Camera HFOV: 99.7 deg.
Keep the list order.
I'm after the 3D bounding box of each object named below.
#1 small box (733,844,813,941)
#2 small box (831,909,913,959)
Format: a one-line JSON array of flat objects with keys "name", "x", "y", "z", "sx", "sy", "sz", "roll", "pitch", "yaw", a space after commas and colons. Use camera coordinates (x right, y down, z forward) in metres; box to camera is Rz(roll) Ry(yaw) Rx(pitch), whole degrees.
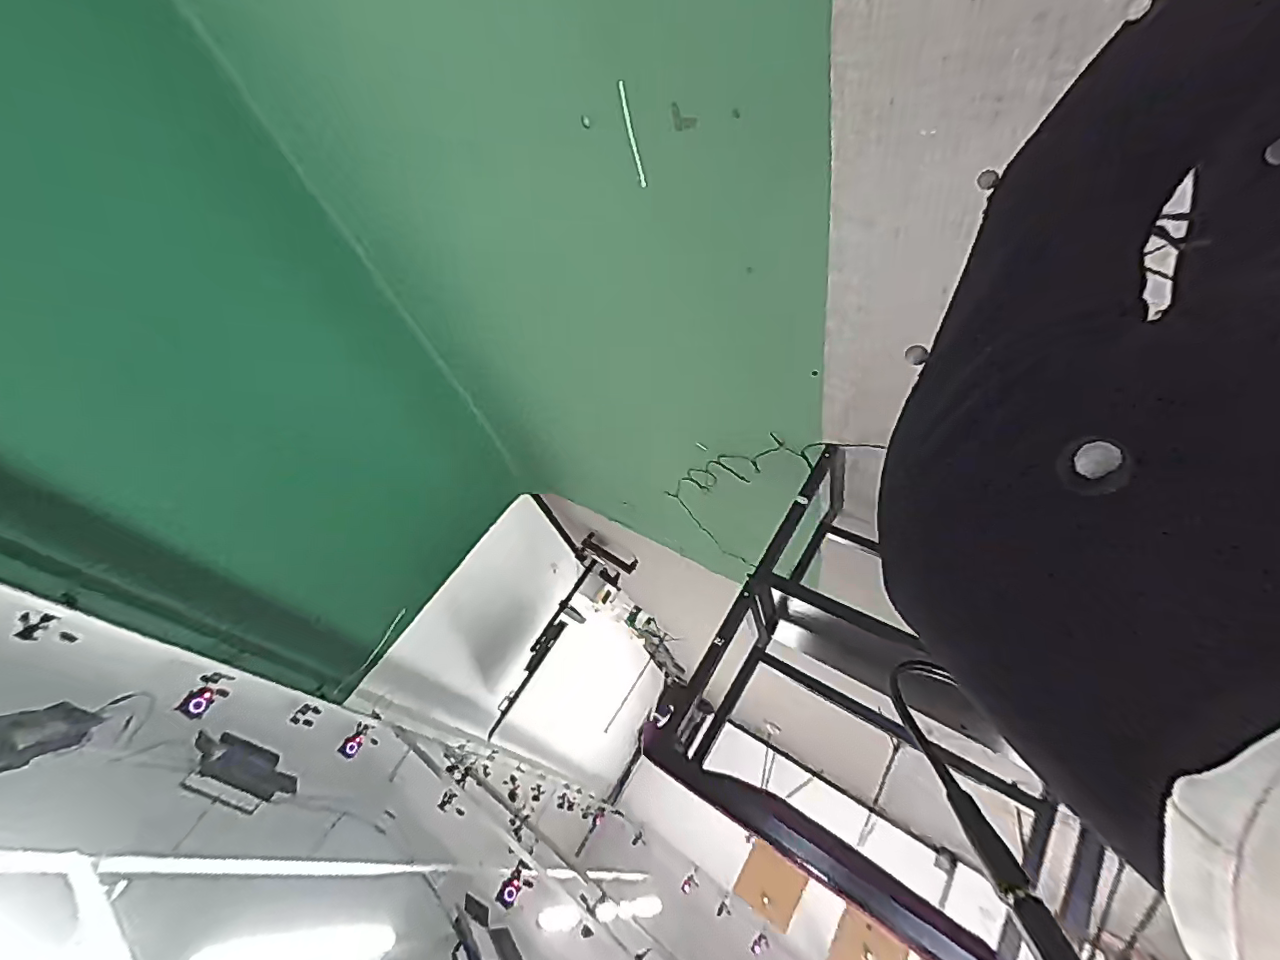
[{"name": "small box", "x": 0.400, "y": 1.218, "z": 1.613, "sx": 0.179, "sy": 0.176, "sz": 0.168, "roll": 21, "pitch": 154, "yaw": 29}, {"name": "small box", "x": 0.624, "y": 1.311, "z": 1.470, "sx": 0.168, "sy": 0.176, "sz": 0.179, "roll": 22, "pitch": 154, "yaw": 31}]
